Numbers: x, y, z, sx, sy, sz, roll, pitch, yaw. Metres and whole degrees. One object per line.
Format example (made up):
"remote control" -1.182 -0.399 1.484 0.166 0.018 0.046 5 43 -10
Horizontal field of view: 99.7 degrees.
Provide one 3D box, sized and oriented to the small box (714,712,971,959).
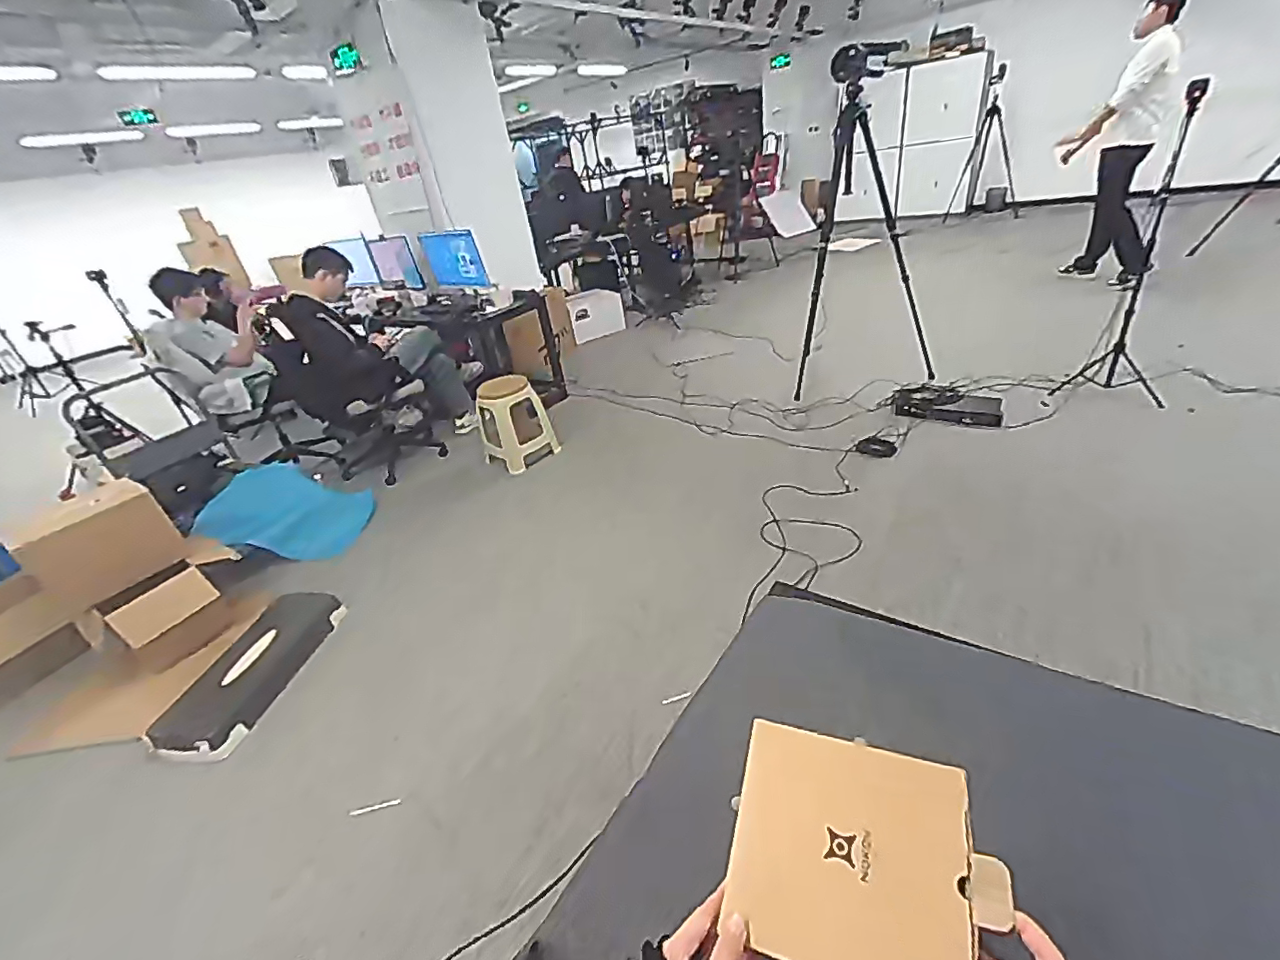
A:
"small box" 0.175 0.338 0.484 0.179 0.176 0.168 7 49 20
